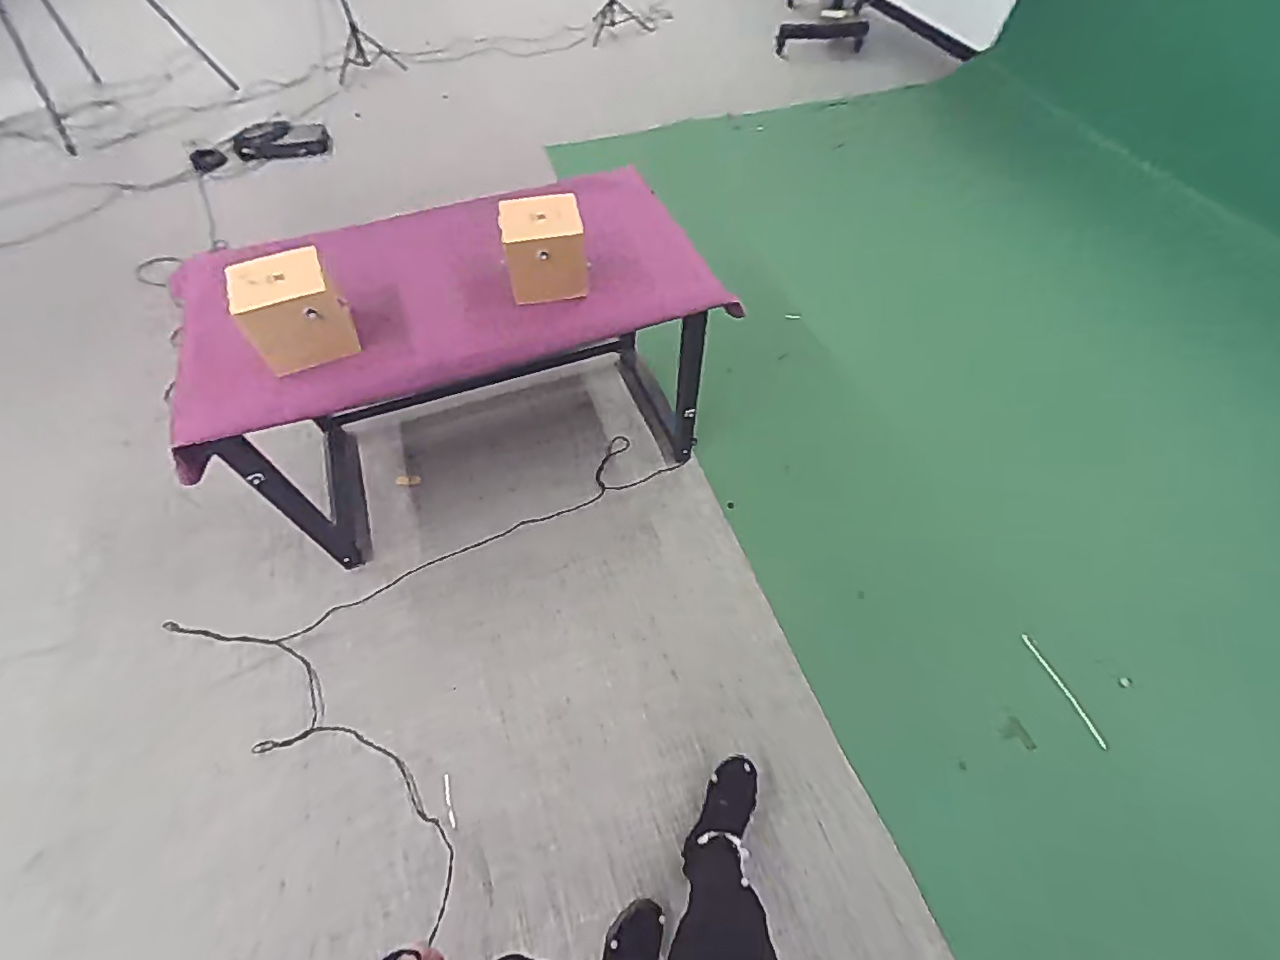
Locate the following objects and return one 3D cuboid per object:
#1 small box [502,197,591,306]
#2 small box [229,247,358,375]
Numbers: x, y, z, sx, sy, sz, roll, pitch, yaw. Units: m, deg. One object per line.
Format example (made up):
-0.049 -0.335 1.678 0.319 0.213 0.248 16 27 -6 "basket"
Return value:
-0.214 -0.525 1.255 0.179 0.176 0.168 -9 57 -6 "small box"
-0.718 -0.352 1.138 0.179 0.176 0.168 -22 59 -14 "small box"
